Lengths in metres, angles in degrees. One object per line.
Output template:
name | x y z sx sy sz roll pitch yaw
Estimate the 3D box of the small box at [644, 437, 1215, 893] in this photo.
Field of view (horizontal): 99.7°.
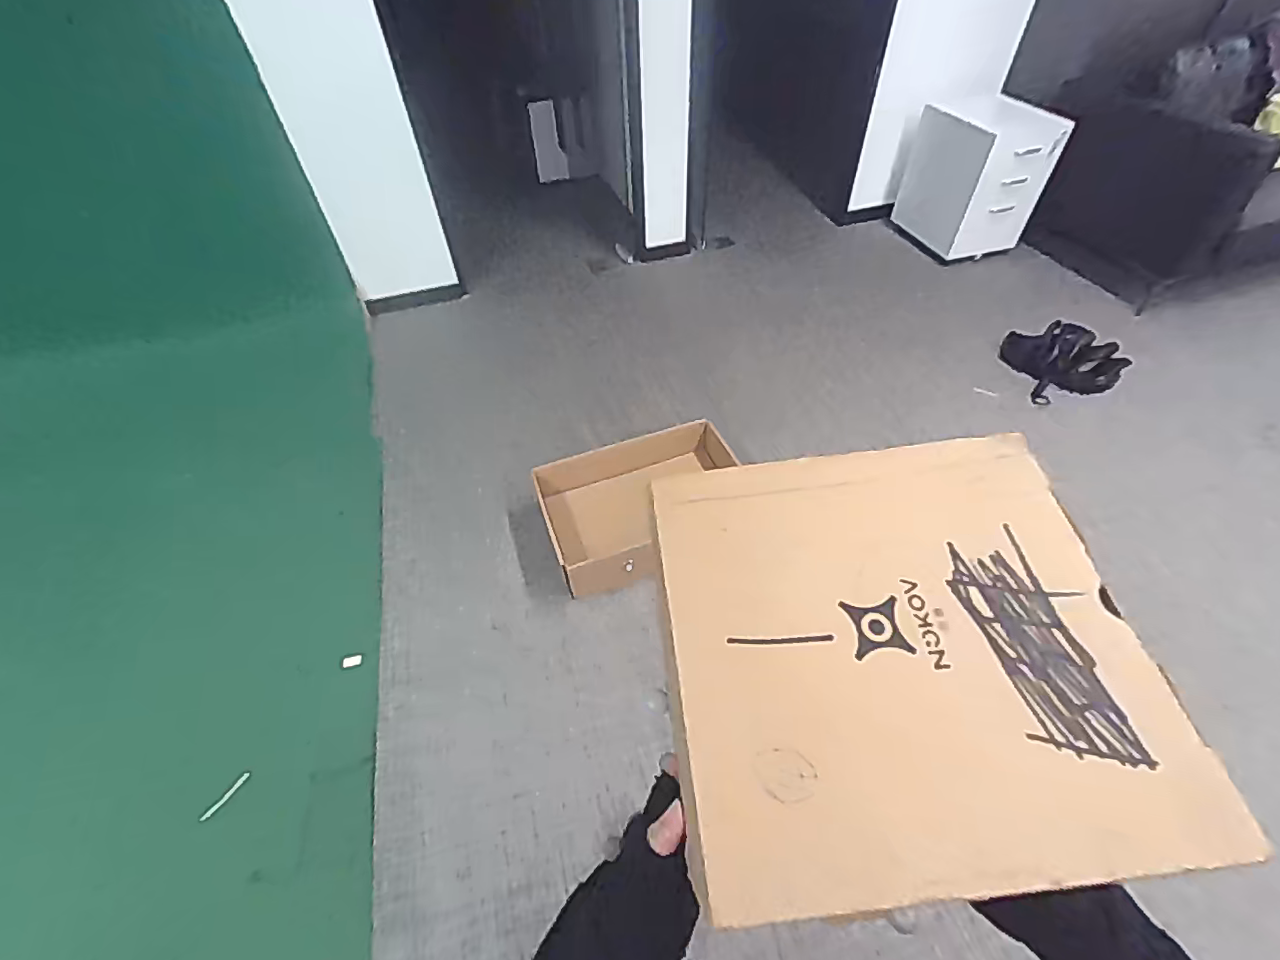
small box | 0.097 0.099 0.281 0.179 0.176 0.168 -6 57 1
